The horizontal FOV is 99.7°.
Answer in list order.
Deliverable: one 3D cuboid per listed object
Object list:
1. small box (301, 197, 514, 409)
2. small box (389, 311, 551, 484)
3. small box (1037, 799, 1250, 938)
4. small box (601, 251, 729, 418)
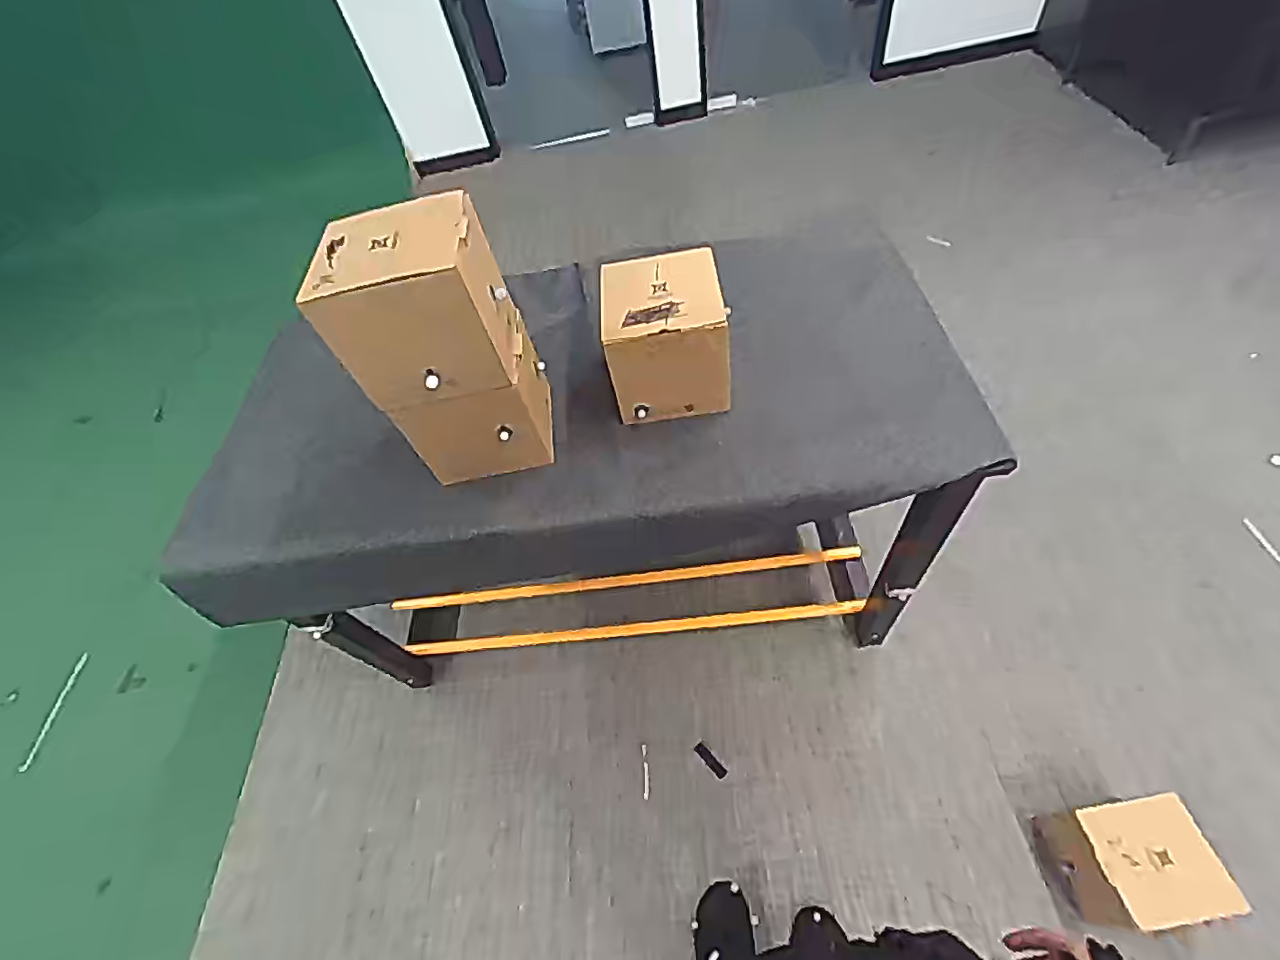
[{"bbox_3d":[-0.264,-0.211,0.665,0.179,0.176,0.168,-11,53,3],"label":"small box"},{"bbox_3d":[-0.234,-0.116,0.796,0.179,0.176,0.168,-12,52,3],"label":"small box"},{"bbox_3d":[0.845,0.665,0.934,0.179,0.176,0.168,-12,53,2],"label":"small box"},{"bbox_3d":[0.040,-0.207,0.808,0.168,0.176,0.179,-7,53,6],"label":"small box"}]
